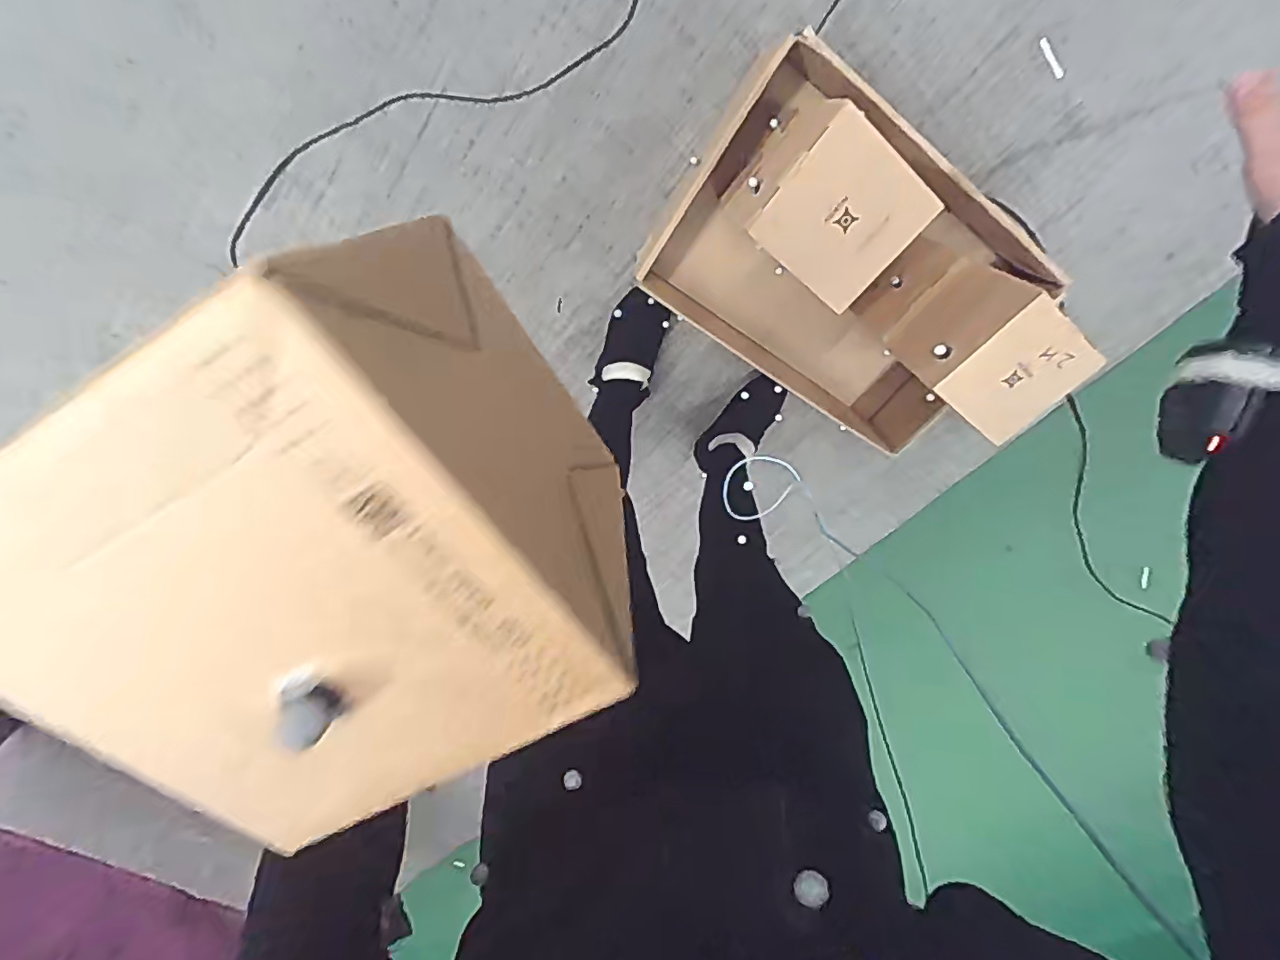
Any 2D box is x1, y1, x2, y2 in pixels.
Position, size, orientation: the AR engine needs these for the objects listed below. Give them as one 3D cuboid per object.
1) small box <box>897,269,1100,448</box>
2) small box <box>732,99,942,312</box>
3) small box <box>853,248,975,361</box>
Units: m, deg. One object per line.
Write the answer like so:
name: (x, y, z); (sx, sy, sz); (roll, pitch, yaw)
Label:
small box: (0.527, -0.189, 0.829); (0.168, 0.176, 0.179); (32, 117, -21)
small box: (0.243, -0.360, 0.714); (0.179, 0.176, 0.168); (32, 119, -21)
small box: (0.515, -0.288, 0.961); (0.179, 0.176, 0.168); (33, 117, -19)
